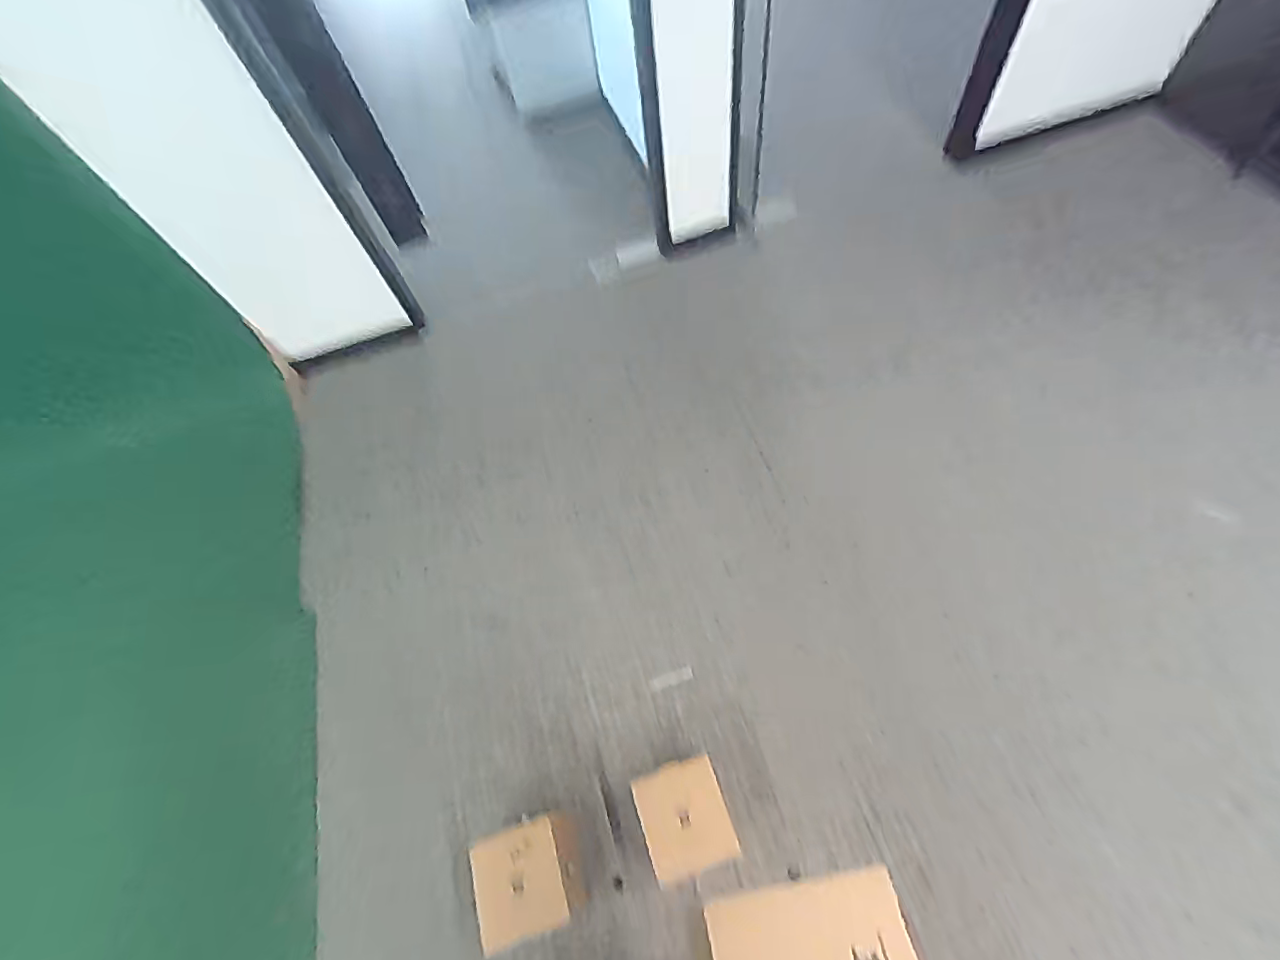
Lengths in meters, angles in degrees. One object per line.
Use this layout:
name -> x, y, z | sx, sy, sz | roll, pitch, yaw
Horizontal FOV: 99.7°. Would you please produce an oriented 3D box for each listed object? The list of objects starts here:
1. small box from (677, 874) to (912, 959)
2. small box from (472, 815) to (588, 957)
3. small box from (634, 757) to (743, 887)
small box -> 0.137, 0.465, 0.480 | 0.179, 0.176, 0.168 | -6, 51, -6
small box -> -0.213, 0.791, 1.073 | 0.168, 0.176, 0.179 | -19, 59, -3
small box -> 0.096, 0.682, 1.090 | 0.168, 0.176, 0.179 | -19, 60, -2
